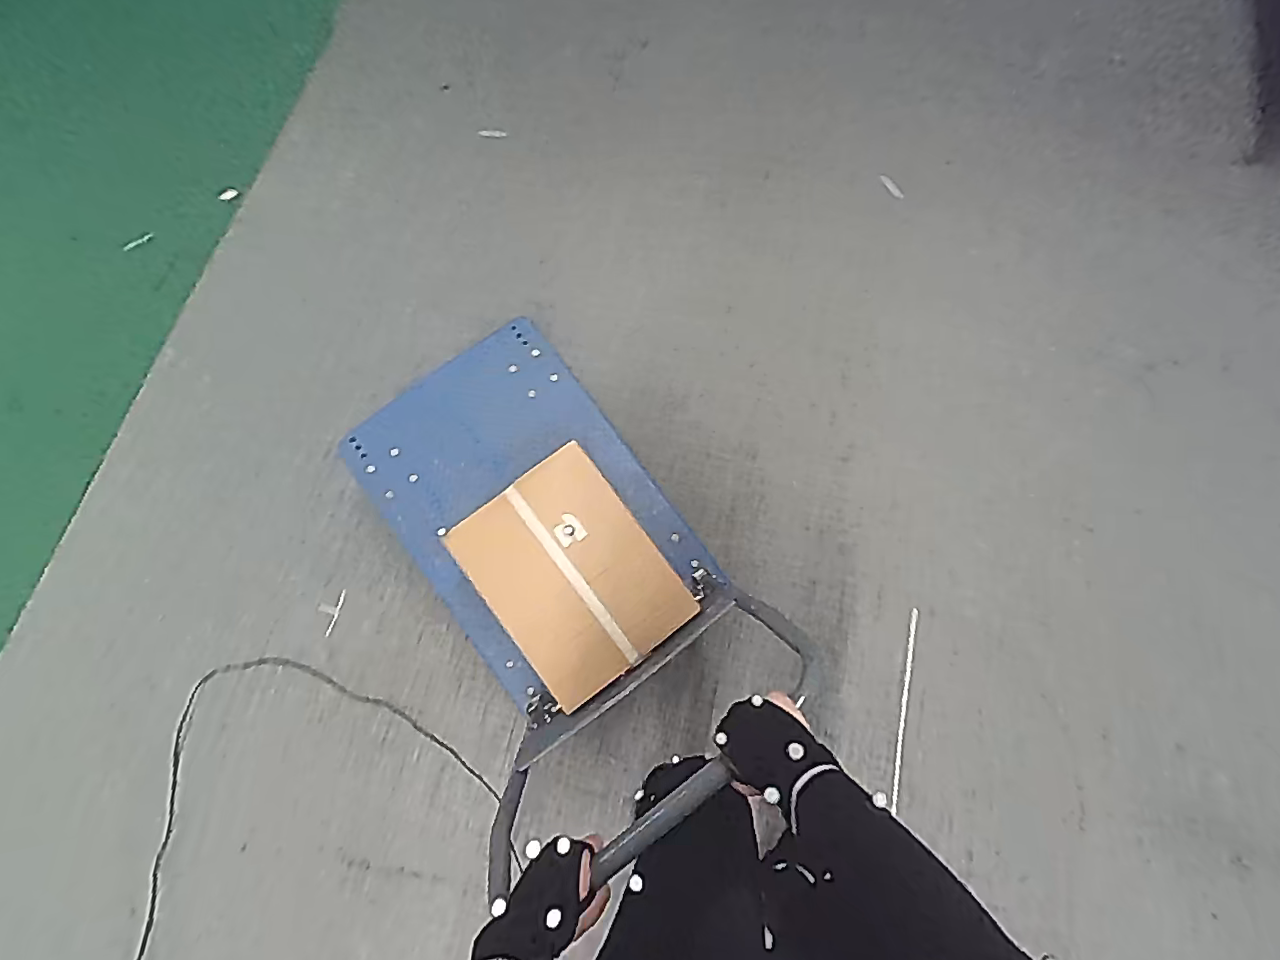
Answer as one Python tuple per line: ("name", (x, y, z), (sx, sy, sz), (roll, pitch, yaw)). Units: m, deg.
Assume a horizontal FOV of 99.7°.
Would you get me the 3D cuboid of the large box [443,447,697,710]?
("large box", (-0.132, 0.198, 1.160), (0.320, 0.320, 0.408), (-37, 84, -6))
